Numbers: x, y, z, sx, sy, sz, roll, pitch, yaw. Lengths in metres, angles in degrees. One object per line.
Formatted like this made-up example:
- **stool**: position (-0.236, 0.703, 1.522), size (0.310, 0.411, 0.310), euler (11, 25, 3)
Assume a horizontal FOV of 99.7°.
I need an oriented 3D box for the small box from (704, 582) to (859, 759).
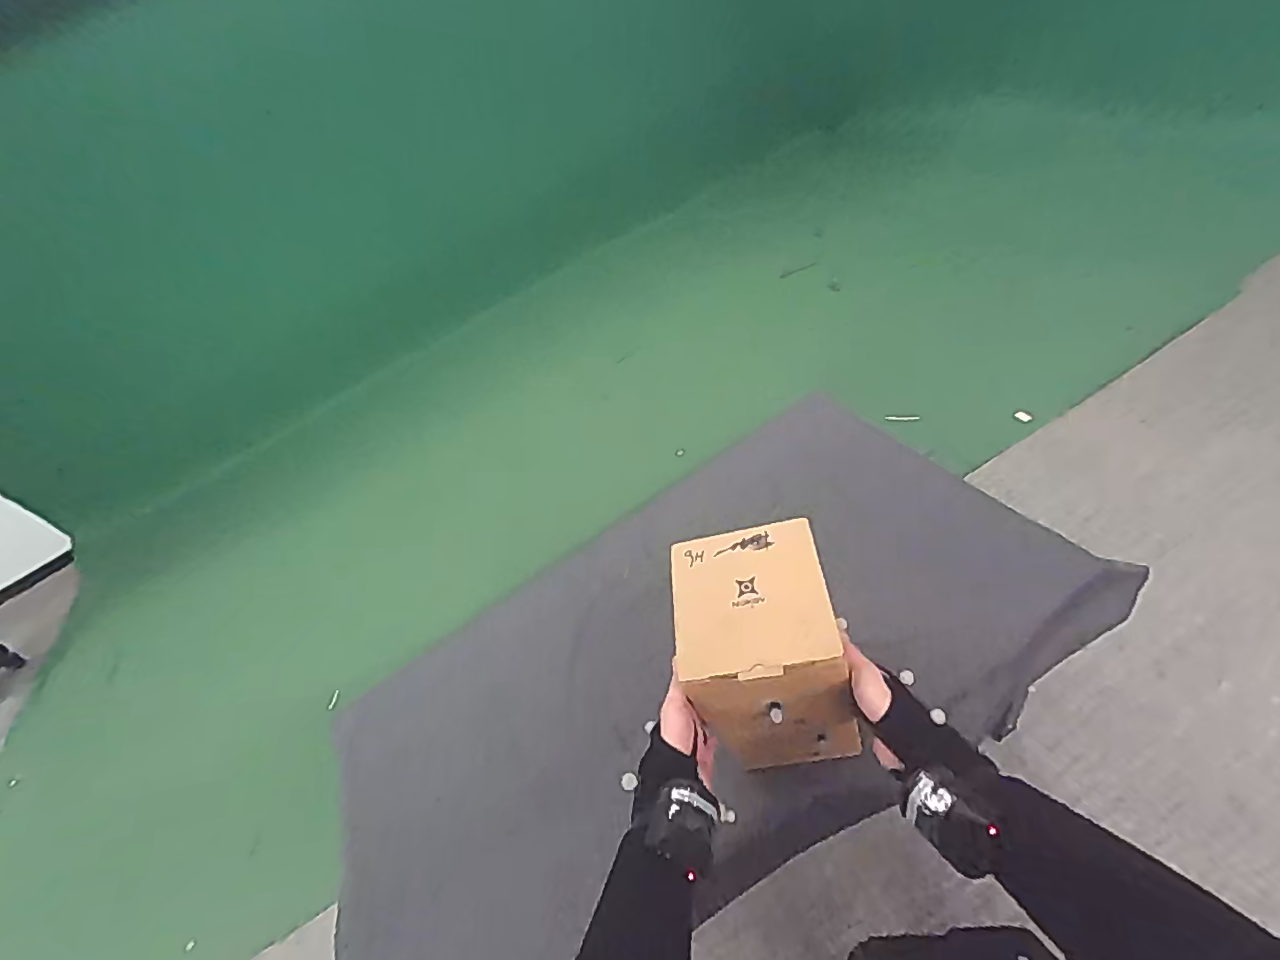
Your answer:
- **small box**: position (0.197, 0.273, 0.755), size (0.168, 0.176, 0.179), euler (-14, 43, 12)
